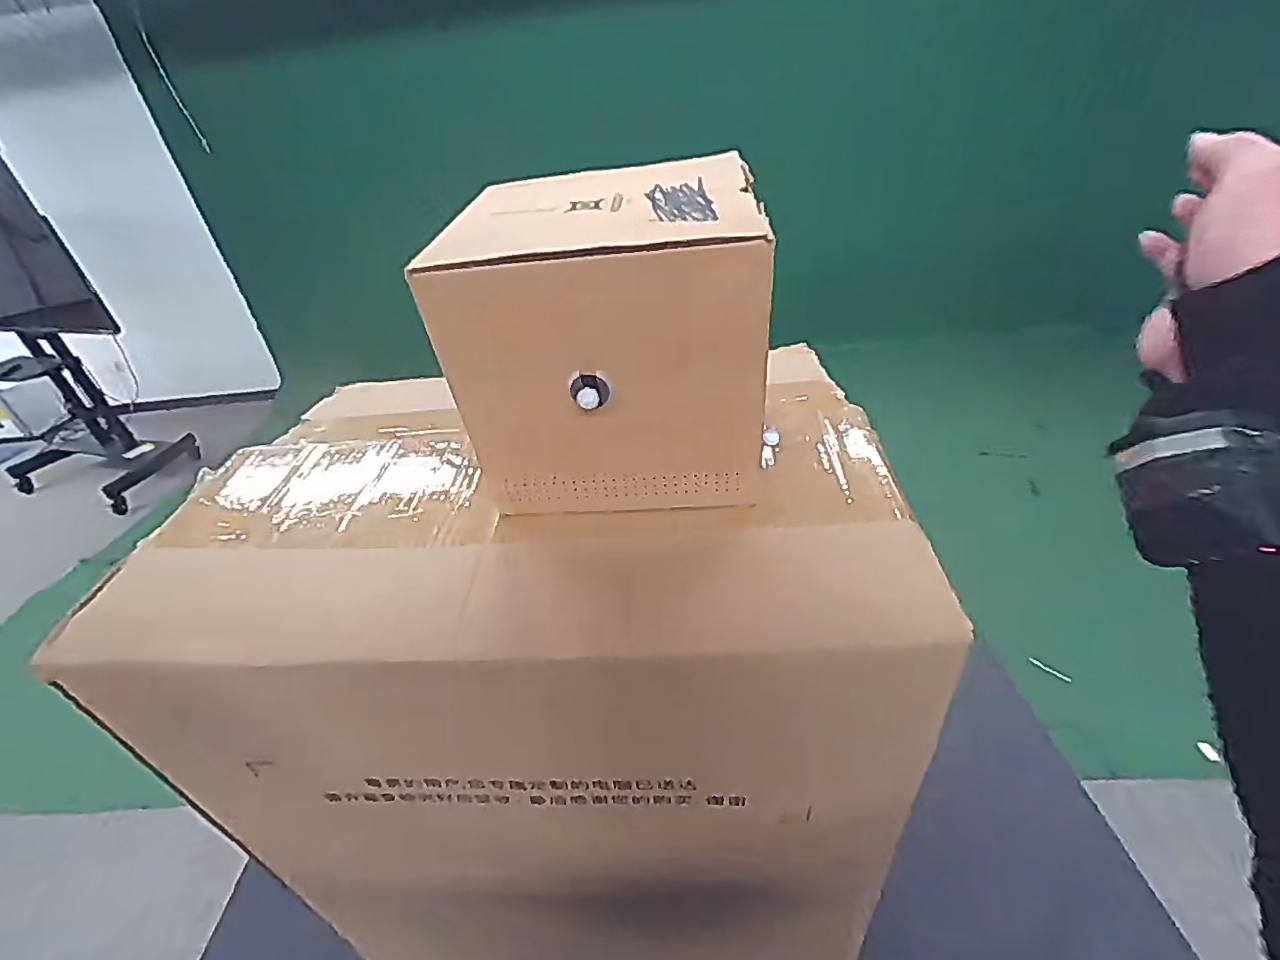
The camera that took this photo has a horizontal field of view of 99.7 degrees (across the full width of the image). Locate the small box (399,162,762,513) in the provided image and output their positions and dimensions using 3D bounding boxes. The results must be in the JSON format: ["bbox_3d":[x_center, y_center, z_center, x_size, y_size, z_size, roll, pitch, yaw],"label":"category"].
[{"bbox_3d":[-0.018,-0.092,0.363,0.179,0.176,0.168,-3,41,7],"label":"small box"}]
